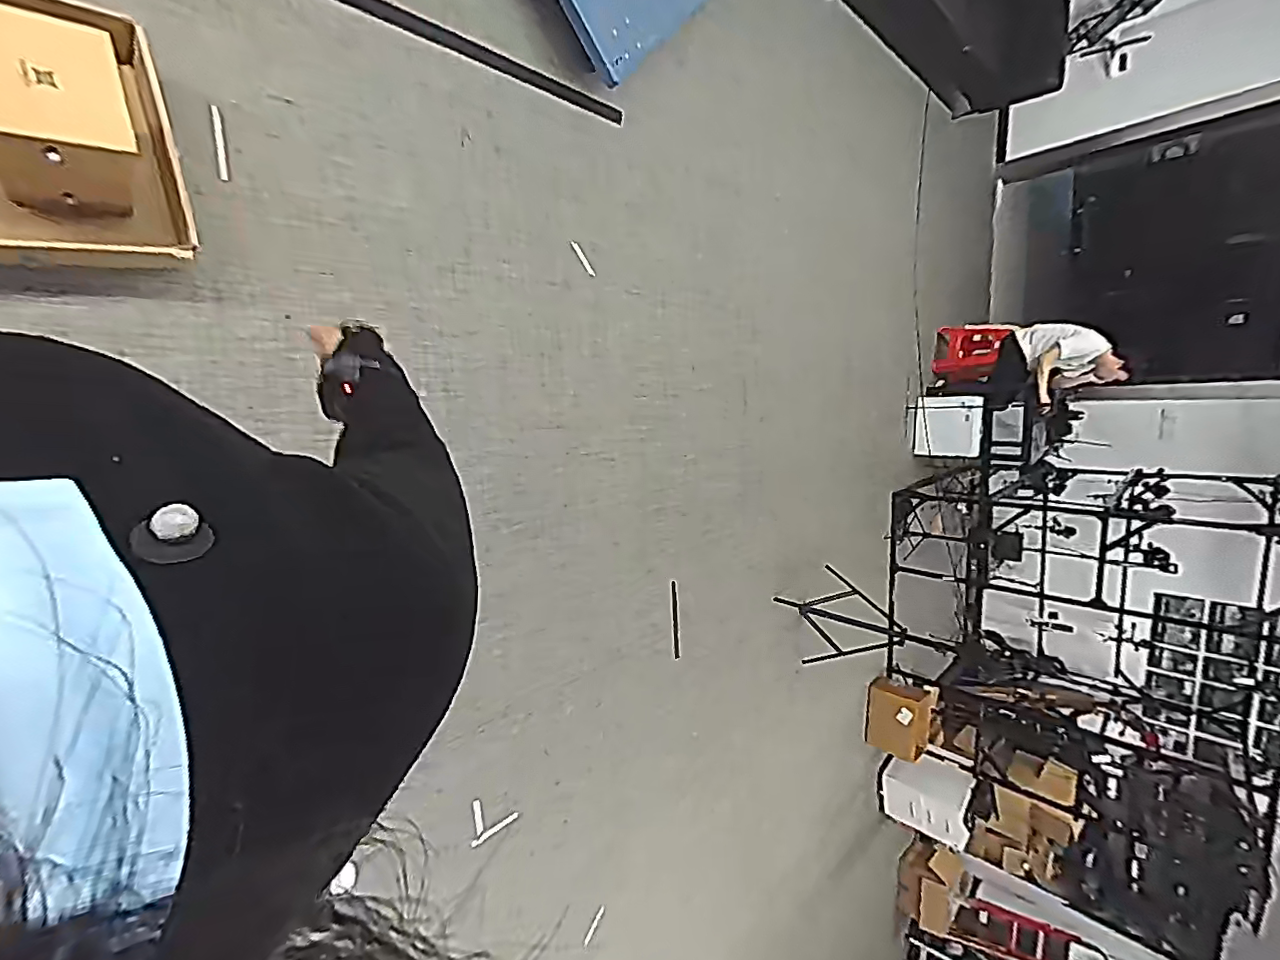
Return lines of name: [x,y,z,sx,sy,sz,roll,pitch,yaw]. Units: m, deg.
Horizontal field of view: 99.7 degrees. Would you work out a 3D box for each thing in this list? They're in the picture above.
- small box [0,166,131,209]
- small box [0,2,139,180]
small box: [-1.003,-0.587,0.928,0.168,0.176,0.179,-15,104,-43]
small box: [-0.891,-0.571,0.811,0.179,0.176,0.168,-15,105,-42]
